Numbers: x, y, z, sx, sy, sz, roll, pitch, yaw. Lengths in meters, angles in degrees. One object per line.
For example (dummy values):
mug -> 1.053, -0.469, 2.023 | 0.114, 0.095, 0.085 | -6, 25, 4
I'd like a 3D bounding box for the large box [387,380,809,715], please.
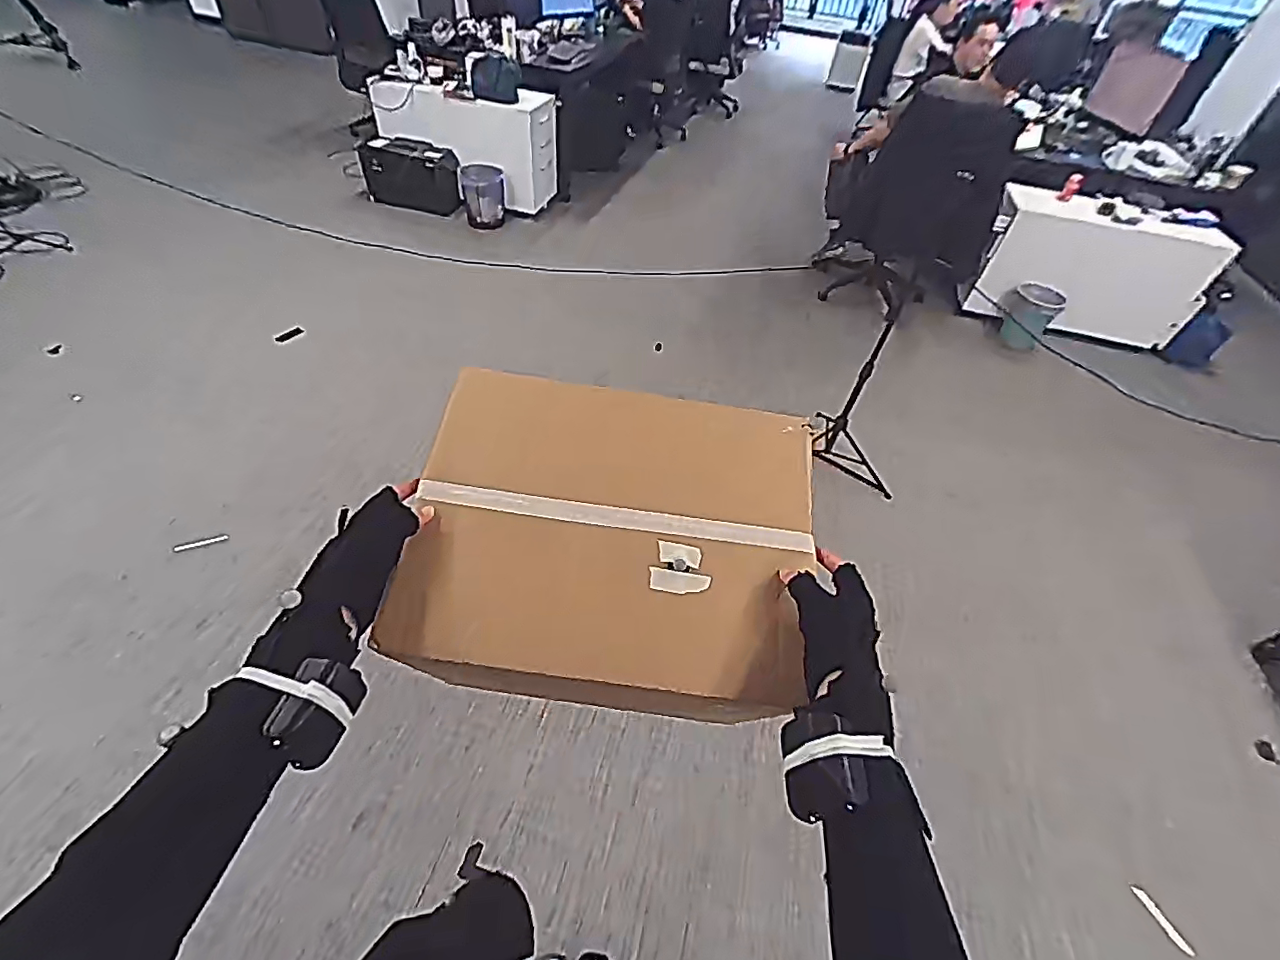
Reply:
large box -> -0.037, 0.108, 0.698 | 0.408, 0.320, 0.320 | 8, 64, -2
